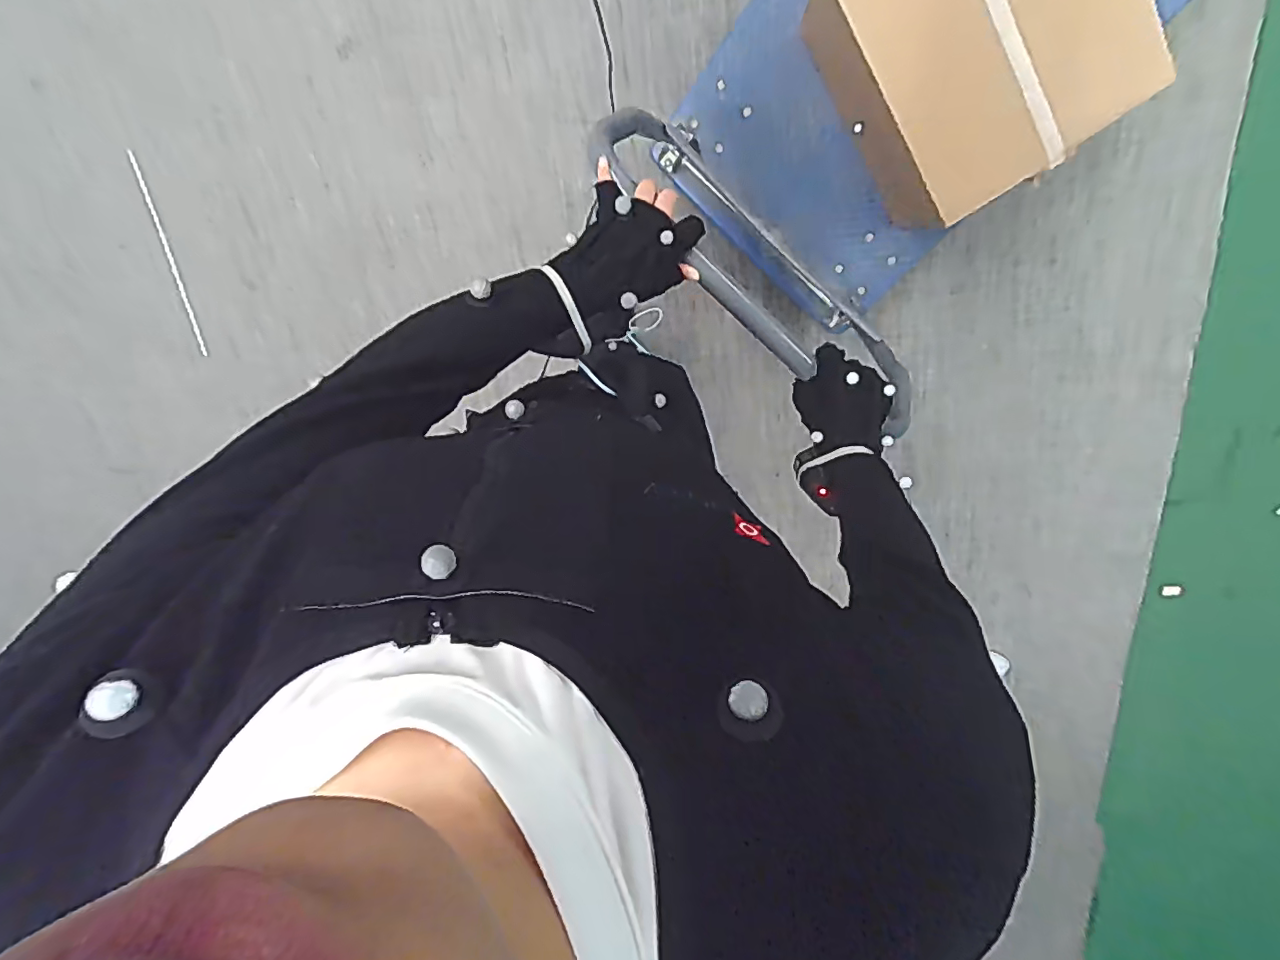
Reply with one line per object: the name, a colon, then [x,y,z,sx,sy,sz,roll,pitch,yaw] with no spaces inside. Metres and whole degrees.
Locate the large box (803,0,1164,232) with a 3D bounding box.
large box: [0.508,-0.674,0.873,0.320,0.320,0.408,-30,107,21]
